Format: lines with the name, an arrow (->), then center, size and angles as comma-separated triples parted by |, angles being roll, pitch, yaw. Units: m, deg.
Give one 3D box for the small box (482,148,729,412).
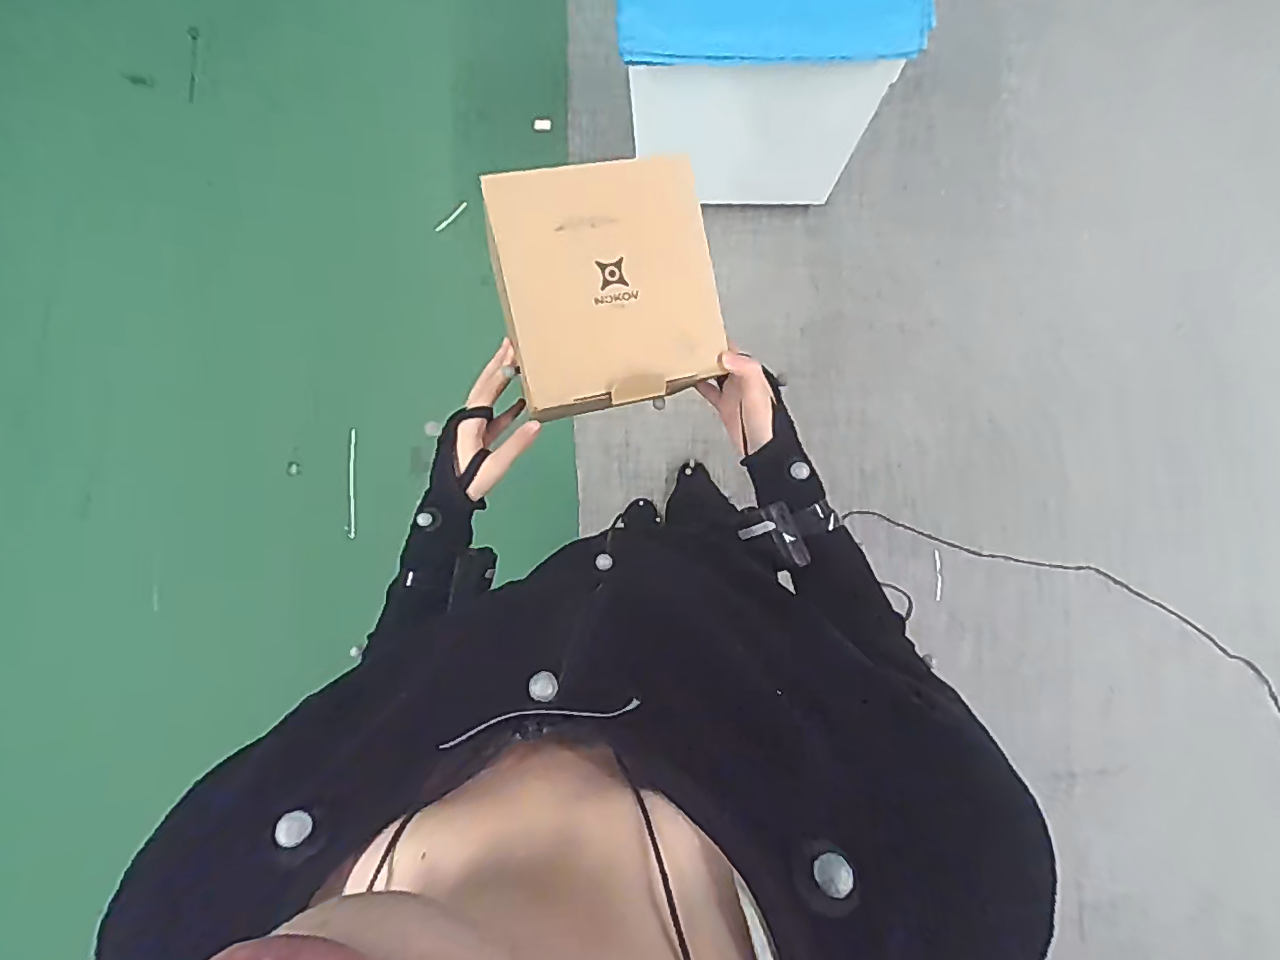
small box -> -0.038, -0.160, 0.486 | 0.168, 0.176, 0.179 | -12, 94, -12
